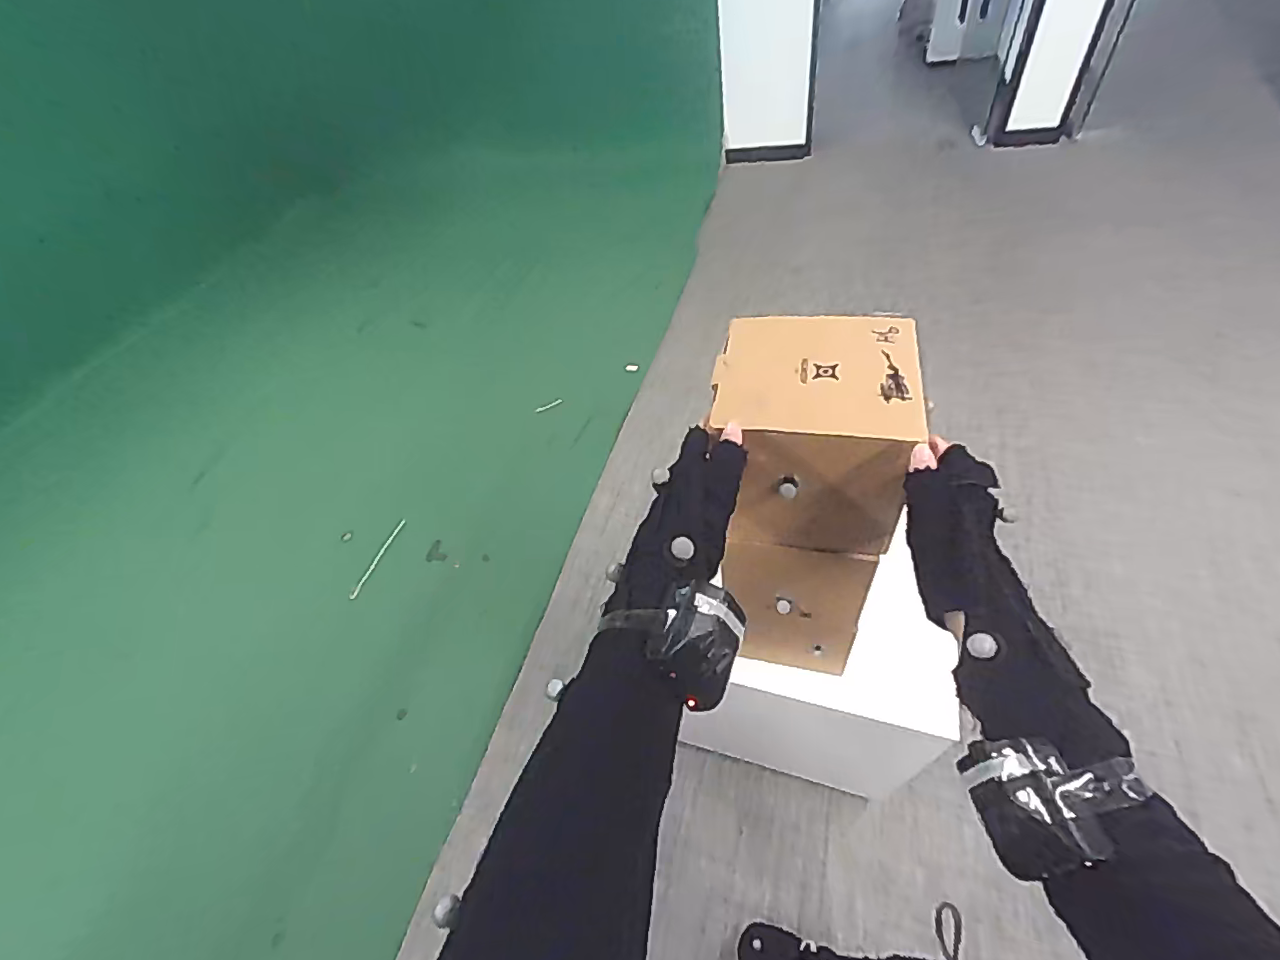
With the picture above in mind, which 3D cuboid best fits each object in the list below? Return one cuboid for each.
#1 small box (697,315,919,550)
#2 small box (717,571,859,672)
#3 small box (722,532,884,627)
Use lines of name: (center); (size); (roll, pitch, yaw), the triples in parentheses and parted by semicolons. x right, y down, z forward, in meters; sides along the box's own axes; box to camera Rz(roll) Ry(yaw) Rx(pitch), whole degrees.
small box: (0.165, -0.046, 0.543); (0.179, 0.176, 0.168); (5, 52, 17)
small box: (0.219, 0.164, 0.790); (0.179, 0.176, 0.168); (5, 52, 18)
small box: (0.196, 0.056, 0.668); (0.168, 0.176, 0.179); (4, 51, 16)
